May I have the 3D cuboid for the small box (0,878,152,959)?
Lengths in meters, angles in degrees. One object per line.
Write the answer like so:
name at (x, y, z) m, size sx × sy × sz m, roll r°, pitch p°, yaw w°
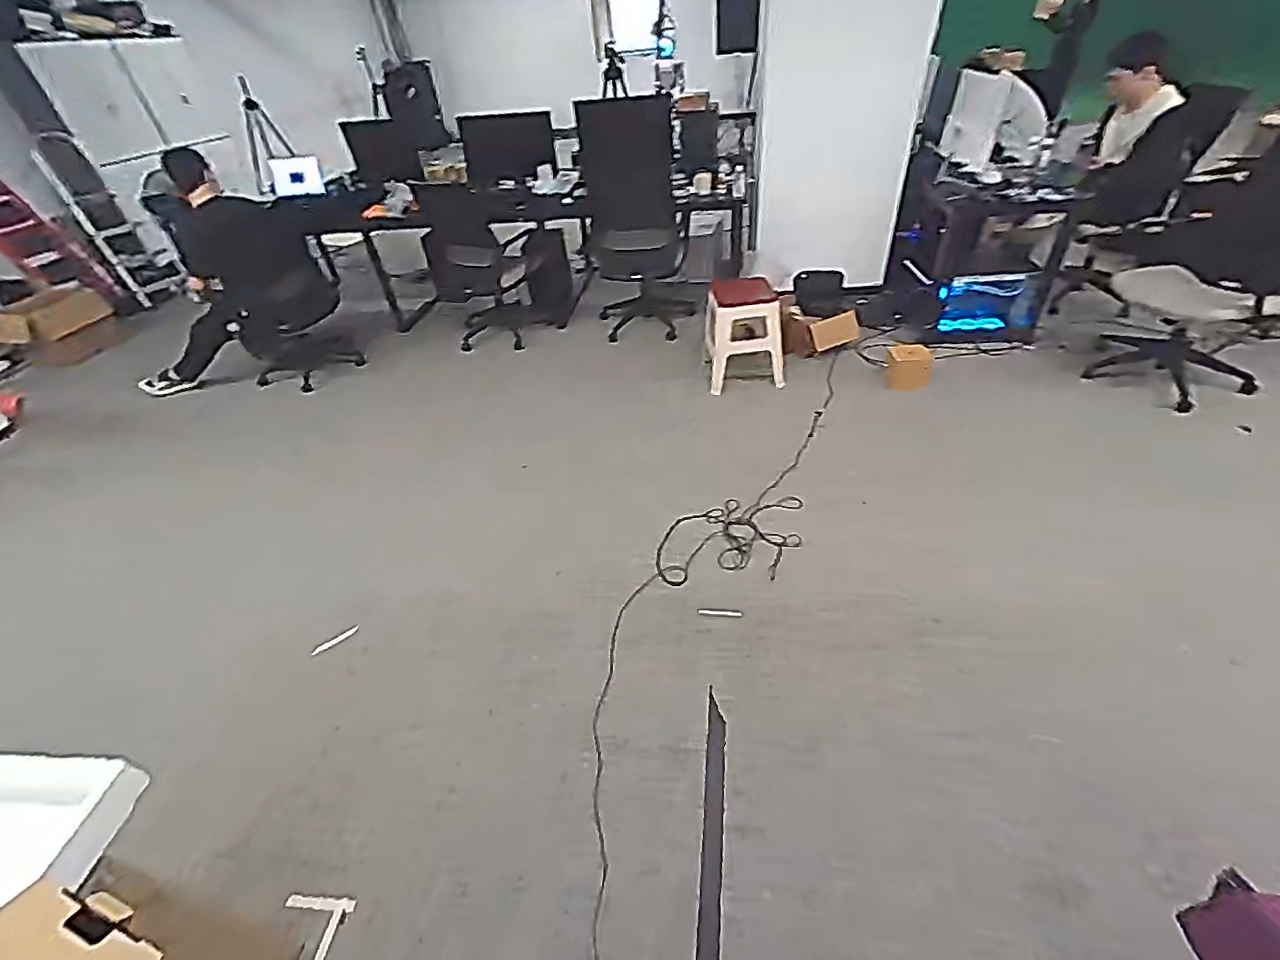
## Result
small box at (-0.555, 0.511, 0.465) m, size 0.168 × 0.176 × 0.179 m, roll 20°, pitch 26°, yaw 12°
